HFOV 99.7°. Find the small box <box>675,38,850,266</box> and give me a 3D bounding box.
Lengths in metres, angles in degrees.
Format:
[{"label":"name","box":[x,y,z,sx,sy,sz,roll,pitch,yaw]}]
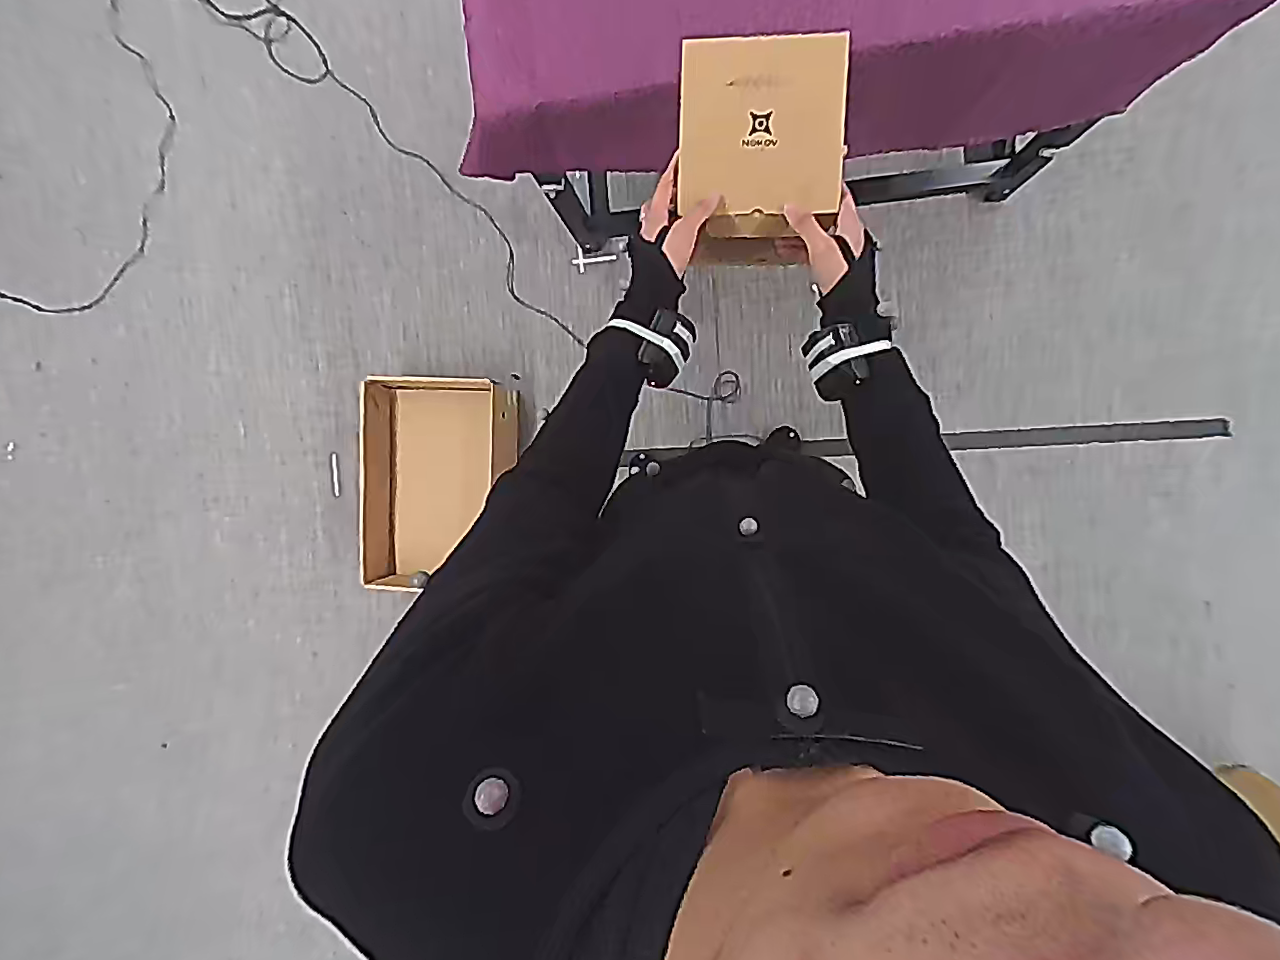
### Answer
[{"label":"small box","box":[0.130,-0.356,0.623,0.168,0.176,0.179,2,95,5]}]
